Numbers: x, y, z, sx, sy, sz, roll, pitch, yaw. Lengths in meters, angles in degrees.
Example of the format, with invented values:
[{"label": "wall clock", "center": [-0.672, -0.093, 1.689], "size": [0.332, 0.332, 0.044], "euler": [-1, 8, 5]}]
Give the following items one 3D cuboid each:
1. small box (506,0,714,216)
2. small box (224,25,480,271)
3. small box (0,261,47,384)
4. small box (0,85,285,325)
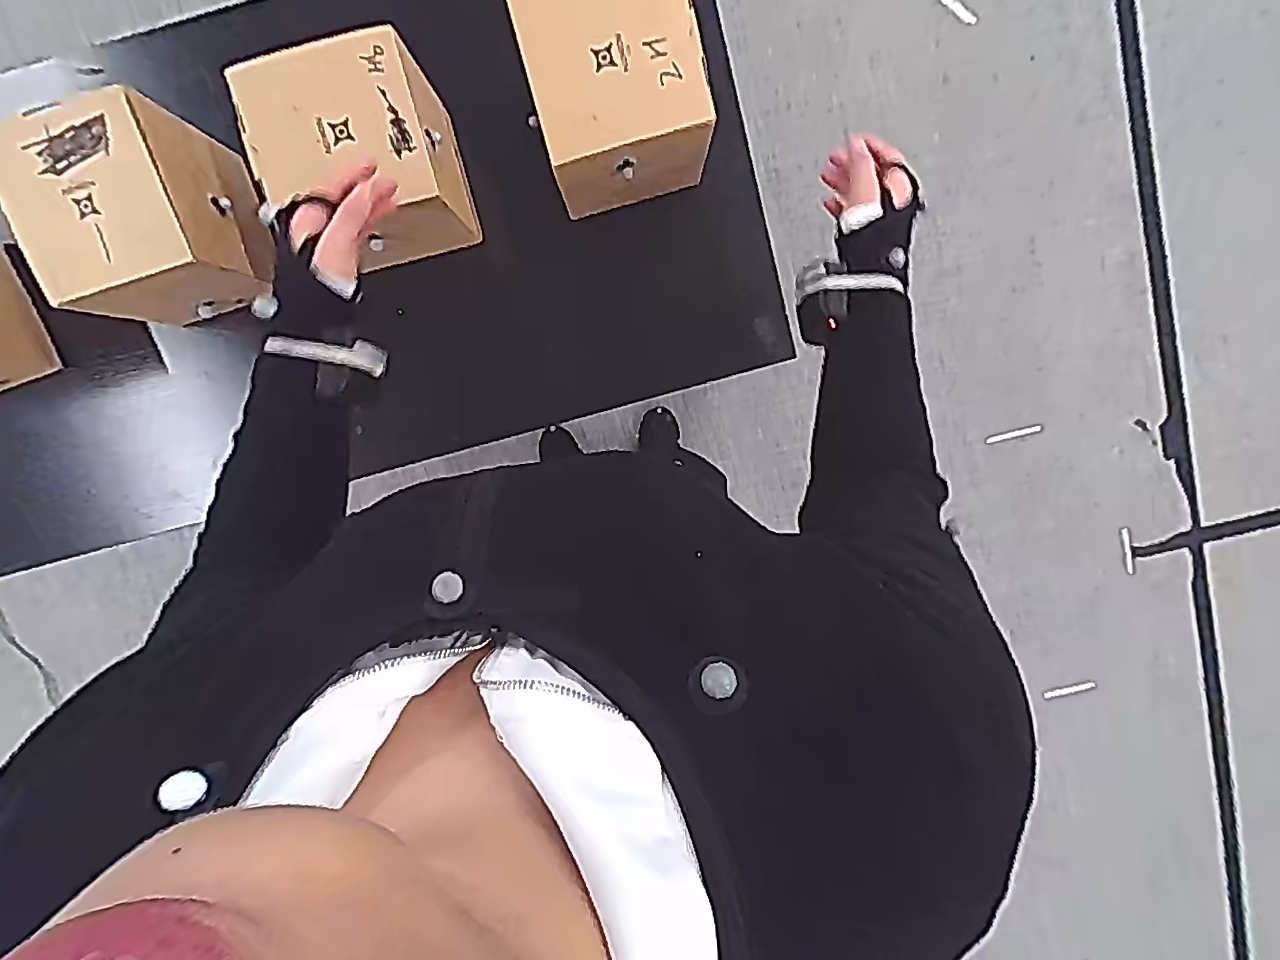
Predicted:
[{"label": "small box", "center": [-0.027, -0.423, 0.608], "size": [0.179, 0.176, 0.168], "euler": [-14, 99, 2]}, {"label": "small box", "center": [-0.306, -0.354, 0.615], "size": [0.179, 0.176, 0.168], "euler": [-14, 98, 2]}, {"label": "small box", "center": [-0.875, -0.190, 0.628], "size": [0.168, 0.176, 0.179], "euler": [-20, 98, 0]}, {"label": "small box", "center": [-0.559, -0.294, 0.618], "size": [0.168, 0.176, 0.179], "euler": [-17, 99, 2]}]
